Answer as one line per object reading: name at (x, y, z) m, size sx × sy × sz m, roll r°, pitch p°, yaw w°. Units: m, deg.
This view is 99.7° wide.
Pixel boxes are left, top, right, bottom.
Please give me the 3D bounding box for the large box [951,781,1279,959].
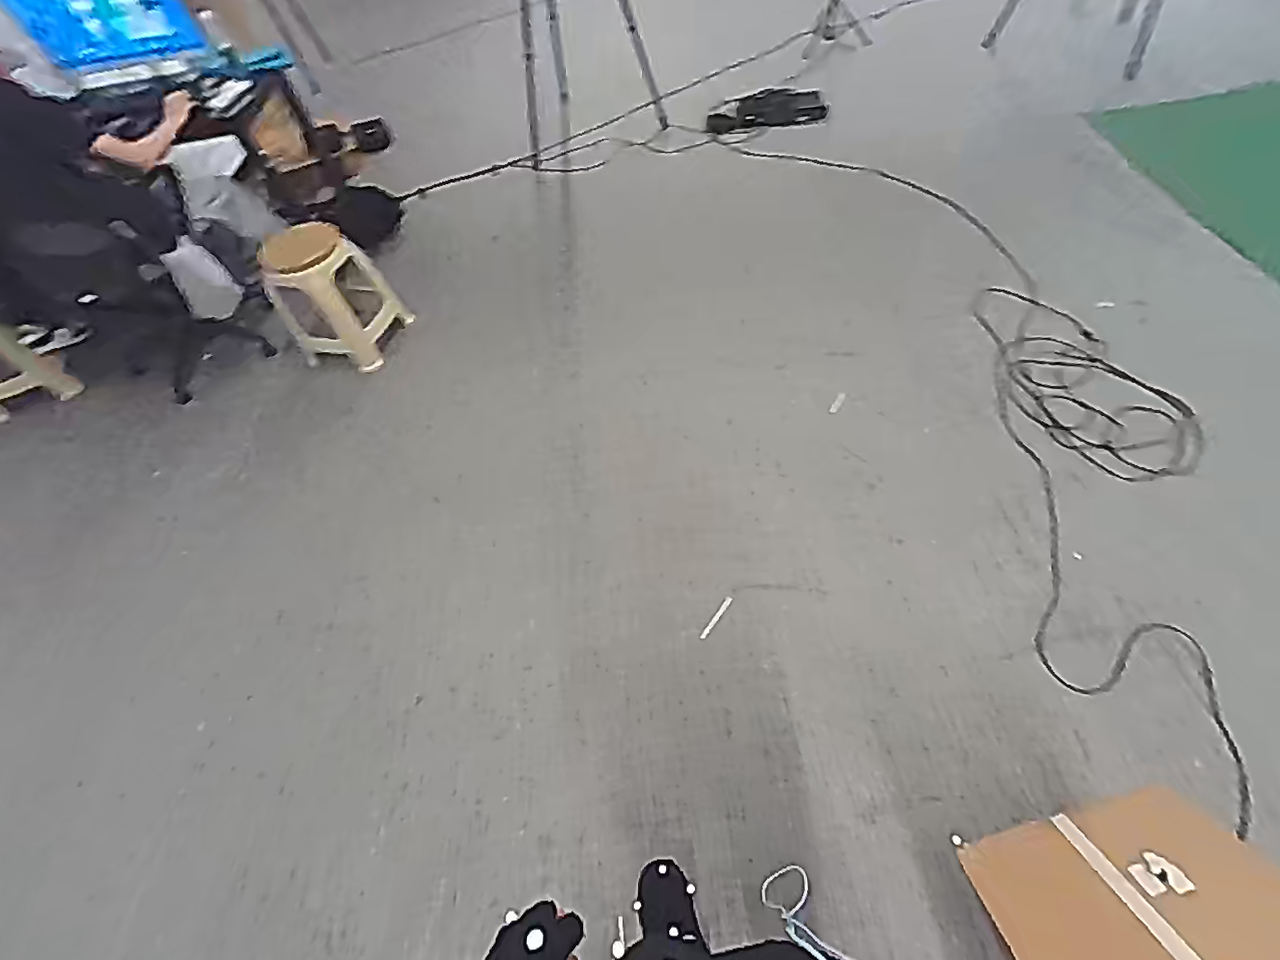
large box at (0.659, 0.654, 0.621) m, size 0.320 × 0.408 × 0.320 m, roll -25°, pitch 90°, yaw 8°
